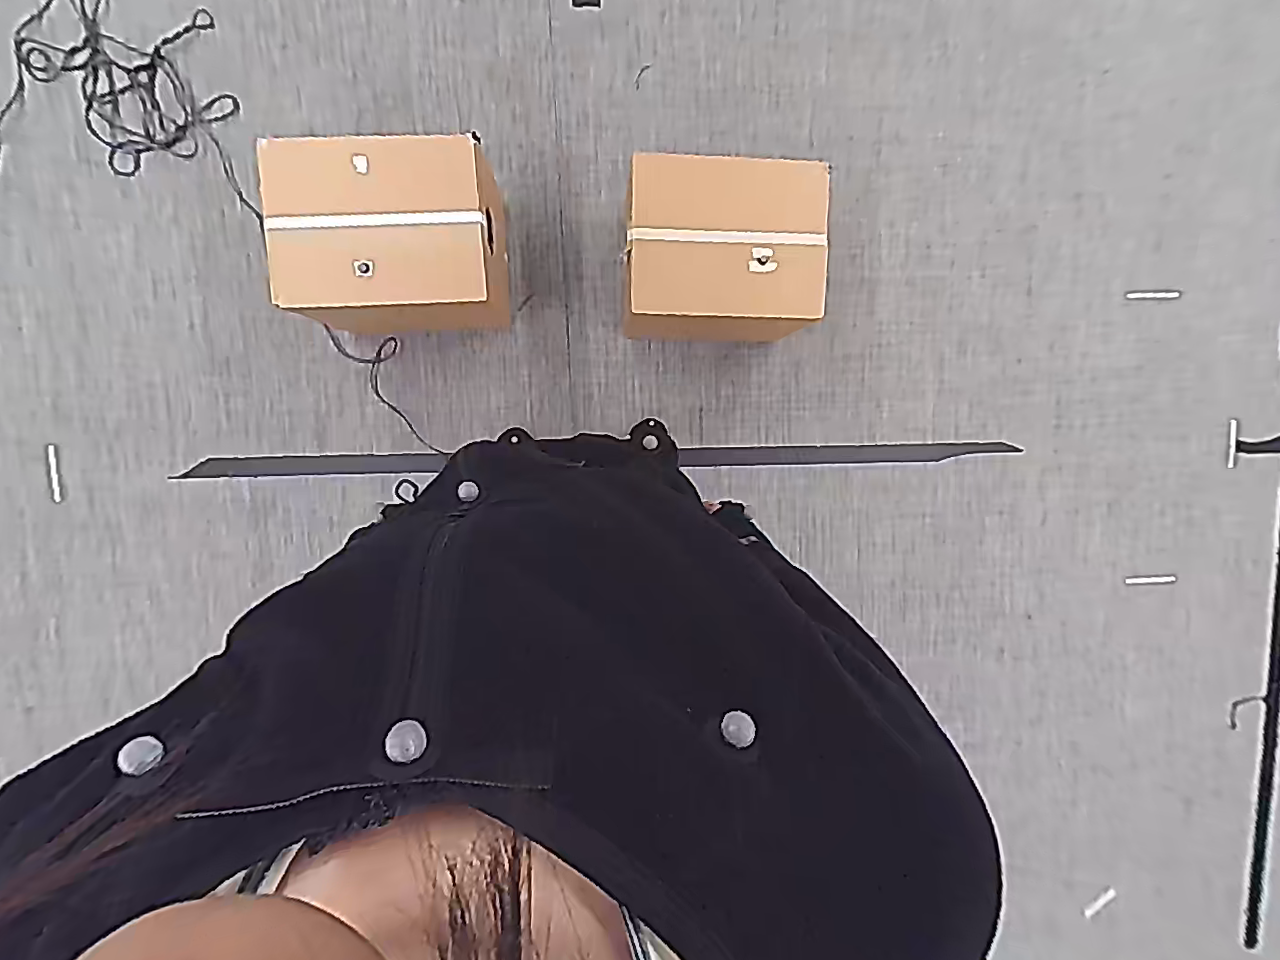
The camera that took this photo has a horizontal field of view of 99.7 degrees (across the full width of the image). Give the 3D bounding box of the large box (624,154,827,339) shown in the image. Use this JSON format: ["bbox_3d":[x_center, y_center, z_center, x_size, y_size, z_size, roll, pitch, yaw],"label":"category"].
[{"bbox_3d":[0.172,-0.509,1.250,0.408,0.320,0.320,1,96,-5],"label":"large box"}]
